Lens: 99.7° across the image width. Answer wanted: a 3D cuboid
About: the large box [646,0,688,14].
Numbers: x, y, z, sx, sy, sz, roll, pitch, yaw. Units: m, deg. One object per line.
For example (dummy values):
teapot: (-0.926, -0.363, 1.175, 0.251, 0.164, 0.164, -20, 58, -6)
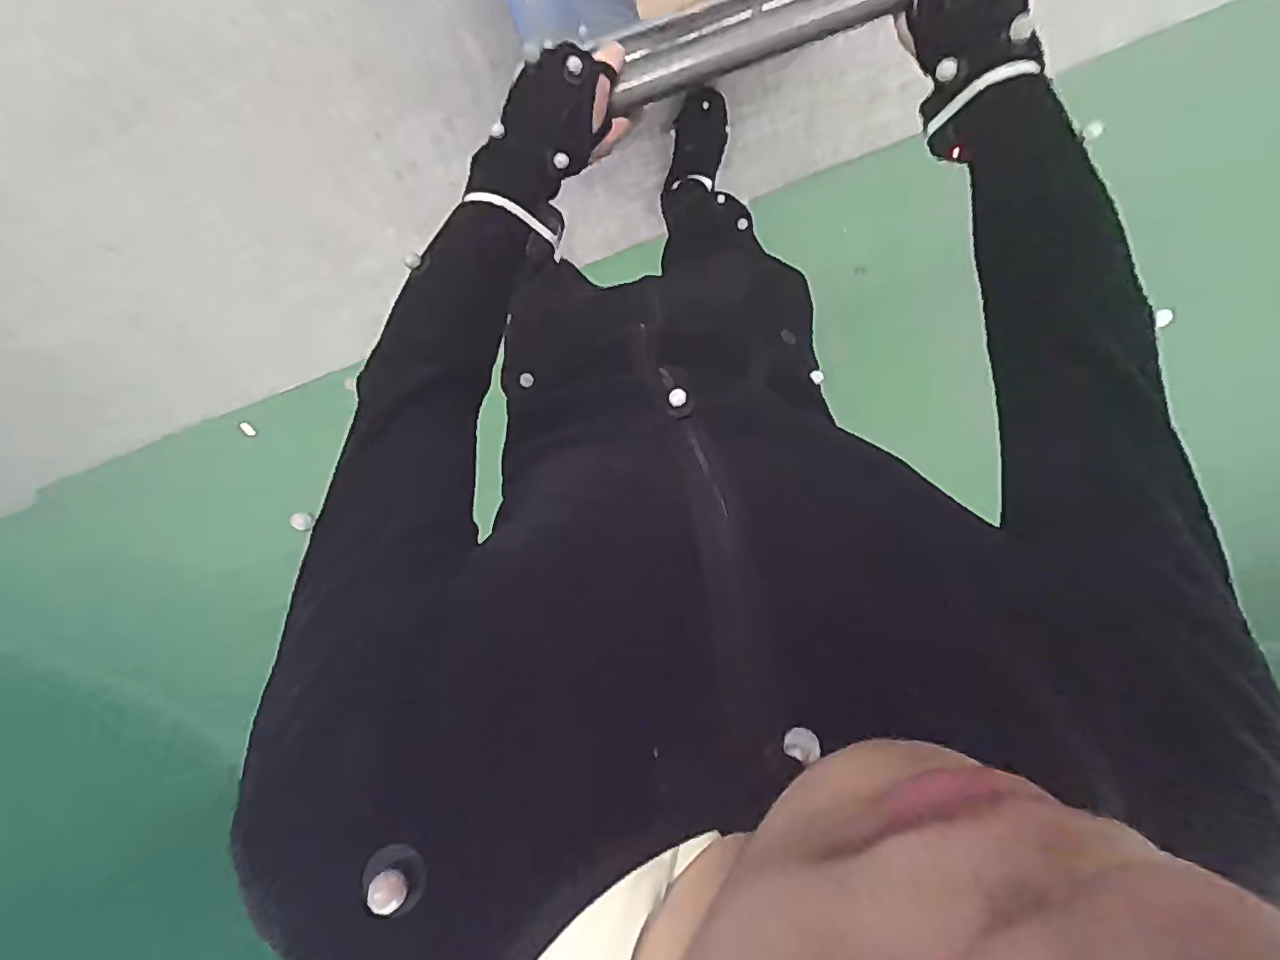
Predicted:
large box: (0.092, -0.917, 0.700, 0.320, 0.320, 0.408, -15, 130, 11)
